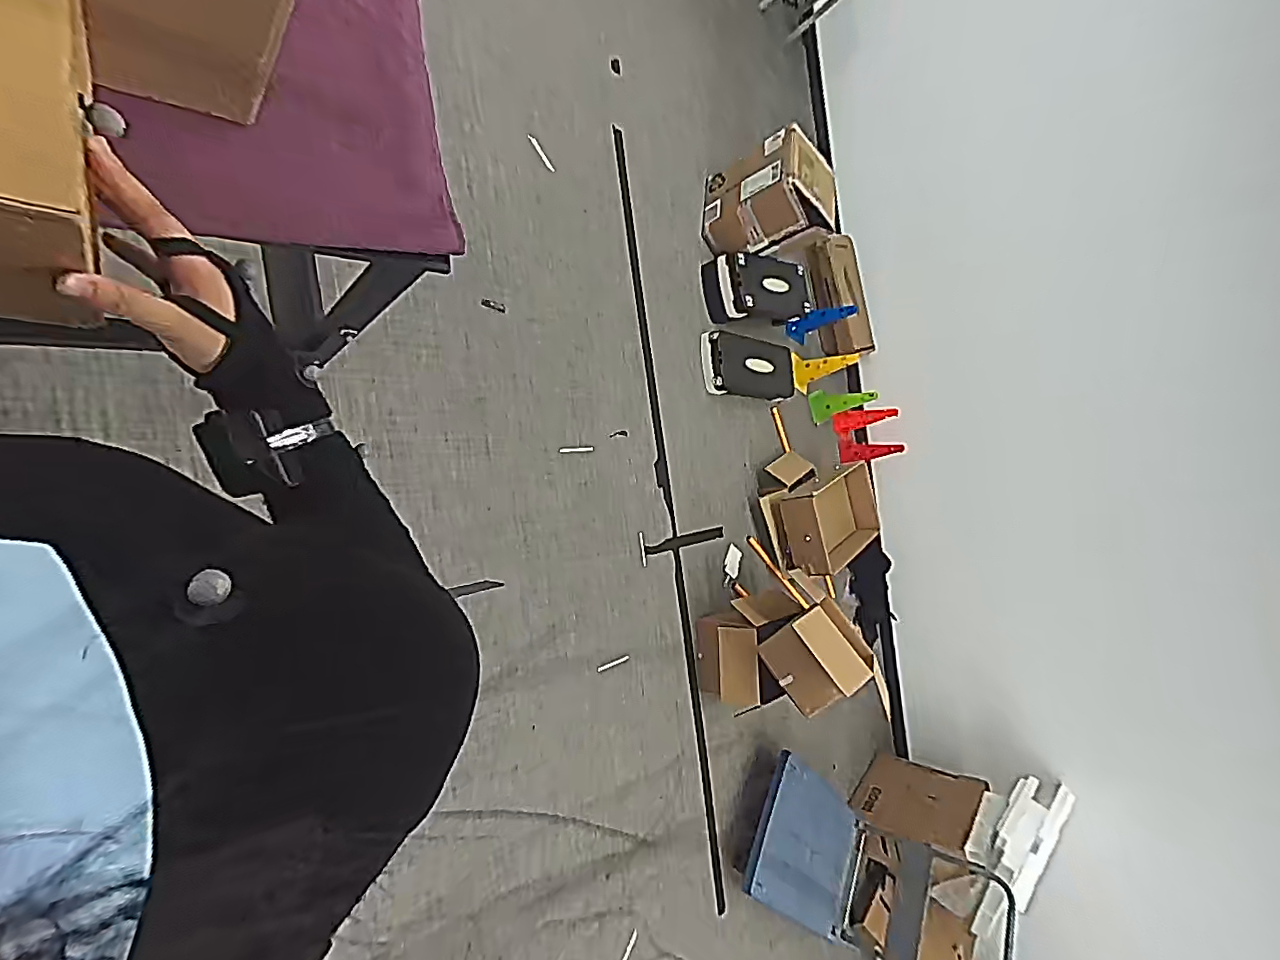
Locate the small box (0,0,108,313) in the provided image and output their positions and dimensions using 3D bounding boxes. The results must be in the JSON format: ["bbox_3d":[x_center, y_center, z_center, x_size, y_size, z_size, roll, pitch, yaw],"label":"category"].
[{"bbox_3d":[-0.388,-0.208,0.273,0.168,0.176,0.179,-4,86,-44],"label":"small box"}]
